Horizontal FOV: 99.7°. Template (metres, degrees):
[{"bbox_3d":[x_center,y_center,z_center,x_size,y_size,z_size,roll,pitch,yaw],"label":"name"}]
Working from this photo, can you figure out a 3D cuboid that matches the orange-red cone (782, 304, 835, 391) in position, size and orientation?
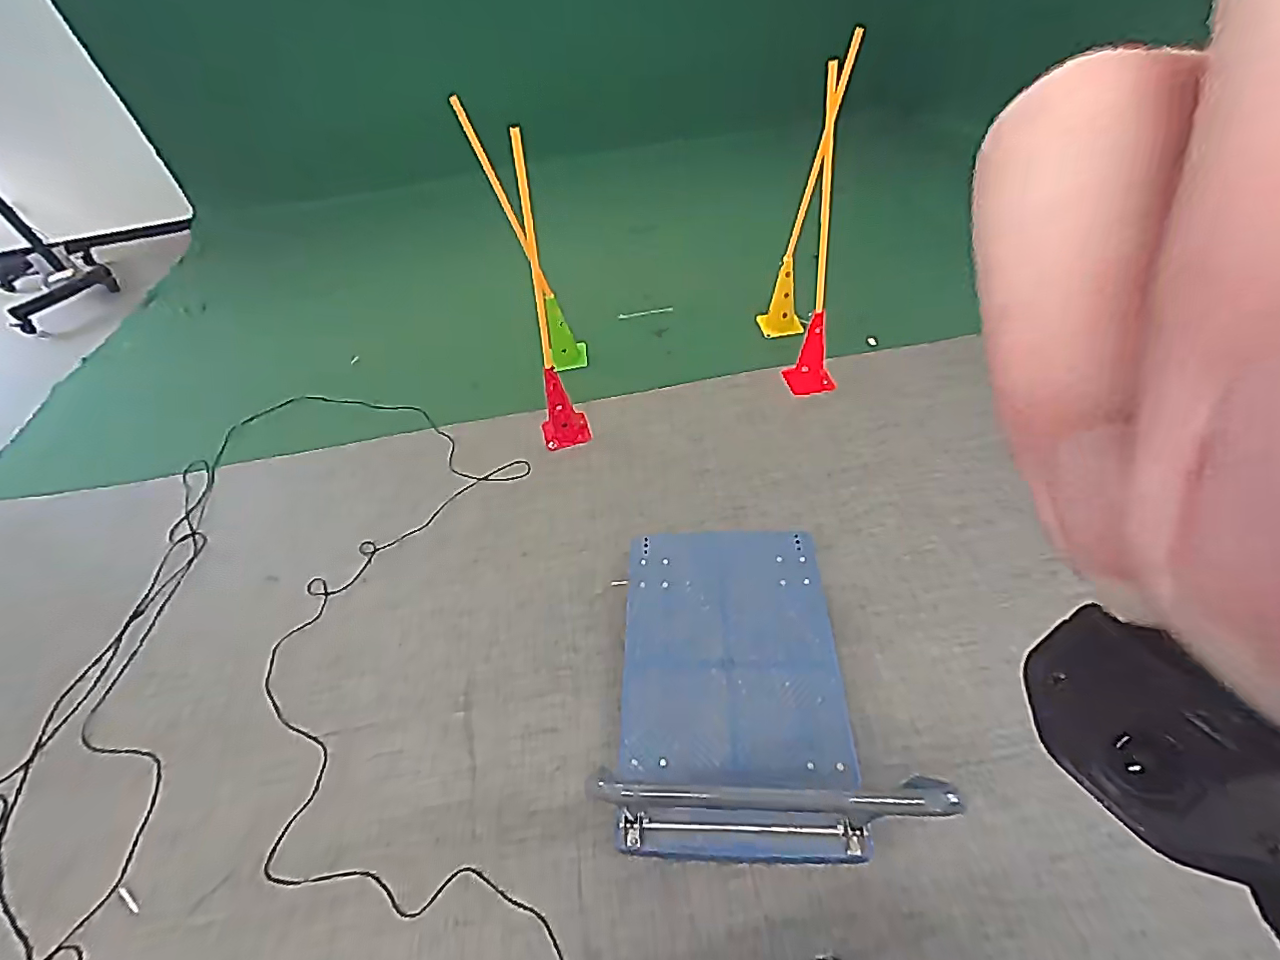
[{"bbox_3d":[0.742,-0.586,2.318,0.198,0.360,0.199,-9,47,-1],"label":"orange-red cone"}]

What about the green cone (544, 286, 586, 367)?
[{"bbox_3d":[-0.396,-0.760,2.619,0.200,0.368,0.202,-10,48,0],"label":"green cone"}]
